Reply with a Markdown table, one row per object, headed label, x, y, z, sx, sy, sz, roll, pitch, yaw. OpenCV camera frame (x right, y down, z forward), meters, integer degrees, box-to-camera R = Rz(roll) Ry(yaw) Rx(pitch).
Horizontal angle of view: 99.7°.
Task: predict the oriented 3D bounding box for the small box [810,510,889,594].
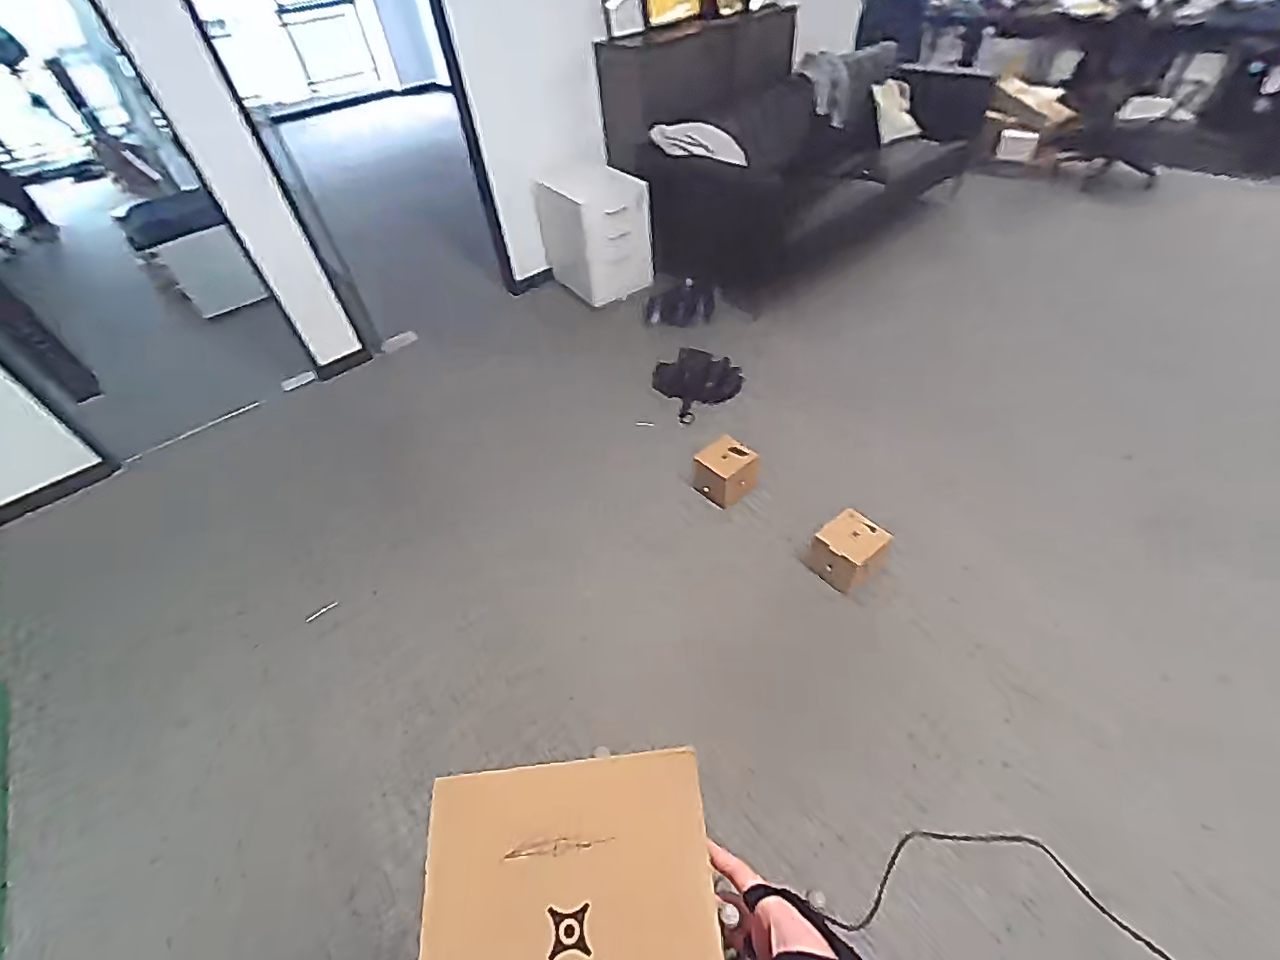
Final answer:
| label | x | y | z | sx | sy | sz | roll | pitch | yaw |
| --- | --- | --- | --- | --- | --- | --- | --- | --- | --- |
| small box | 0.671 | 0.236 | 1.752 | 0.179 | 0.176 | 0.168 | -33 | 50 | -21 |

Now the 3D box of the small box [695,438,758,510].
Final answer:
| label | x | y | z | sx | sy | sz | roll | pitch | yaw |
| --- | --- | --- | --- | --- | --- | --- | --- | --- | --- |
| small box | 0.323 | -0.021 | 2.046 | 0.179 | 0.176 | 0.168 | -35 | 51 | -23 |
